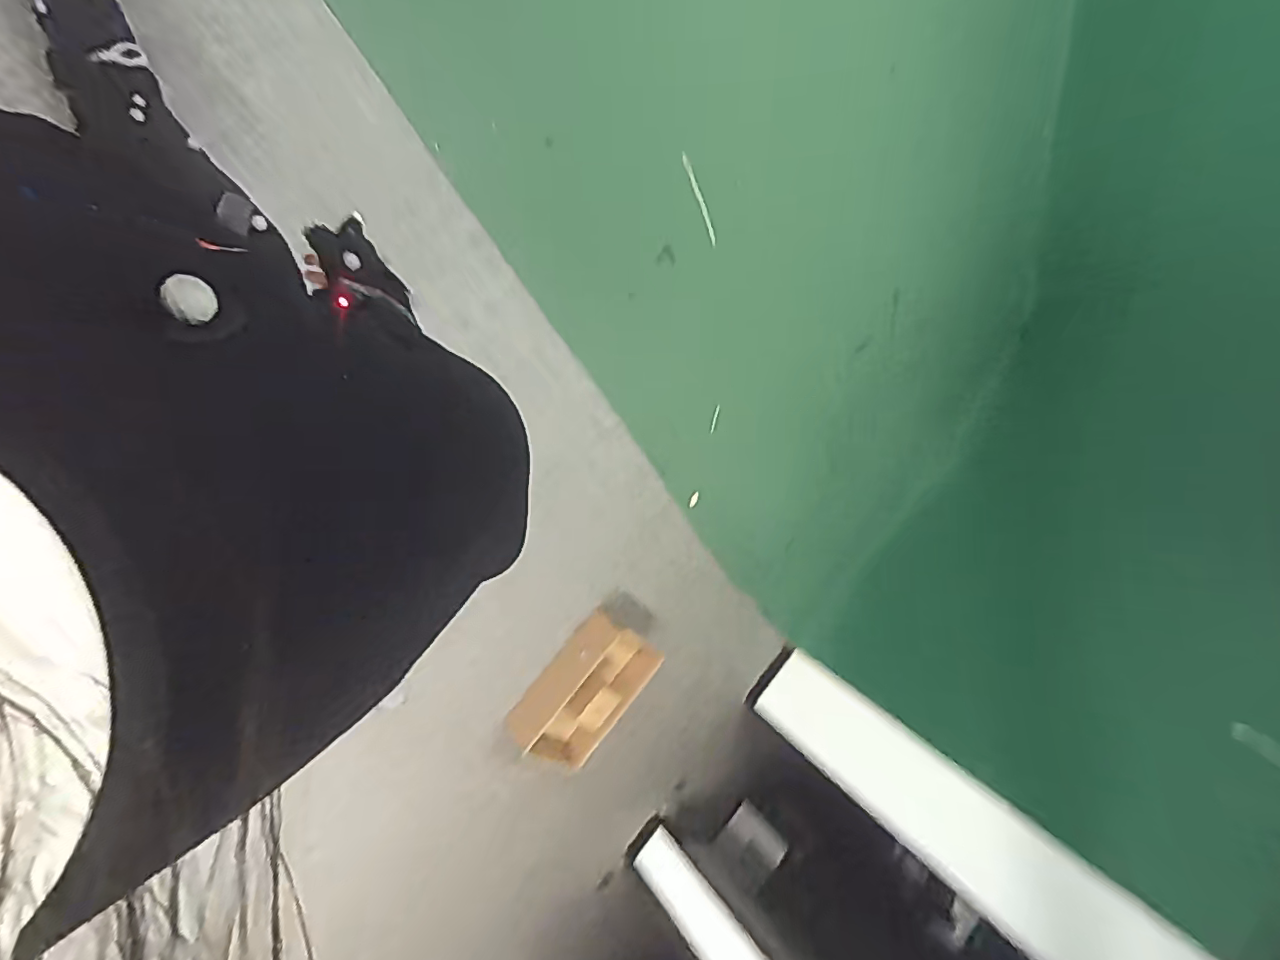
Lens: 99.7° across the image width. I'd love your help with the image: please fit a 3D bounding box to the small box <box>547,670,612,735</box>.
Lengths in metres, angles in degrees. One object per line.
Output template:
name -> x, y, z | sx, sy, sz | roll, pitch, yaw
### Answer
small box -> -0.255, 0.922, 2.250 | 0.168, 0.176, 0.179 | -49, 139, -9
